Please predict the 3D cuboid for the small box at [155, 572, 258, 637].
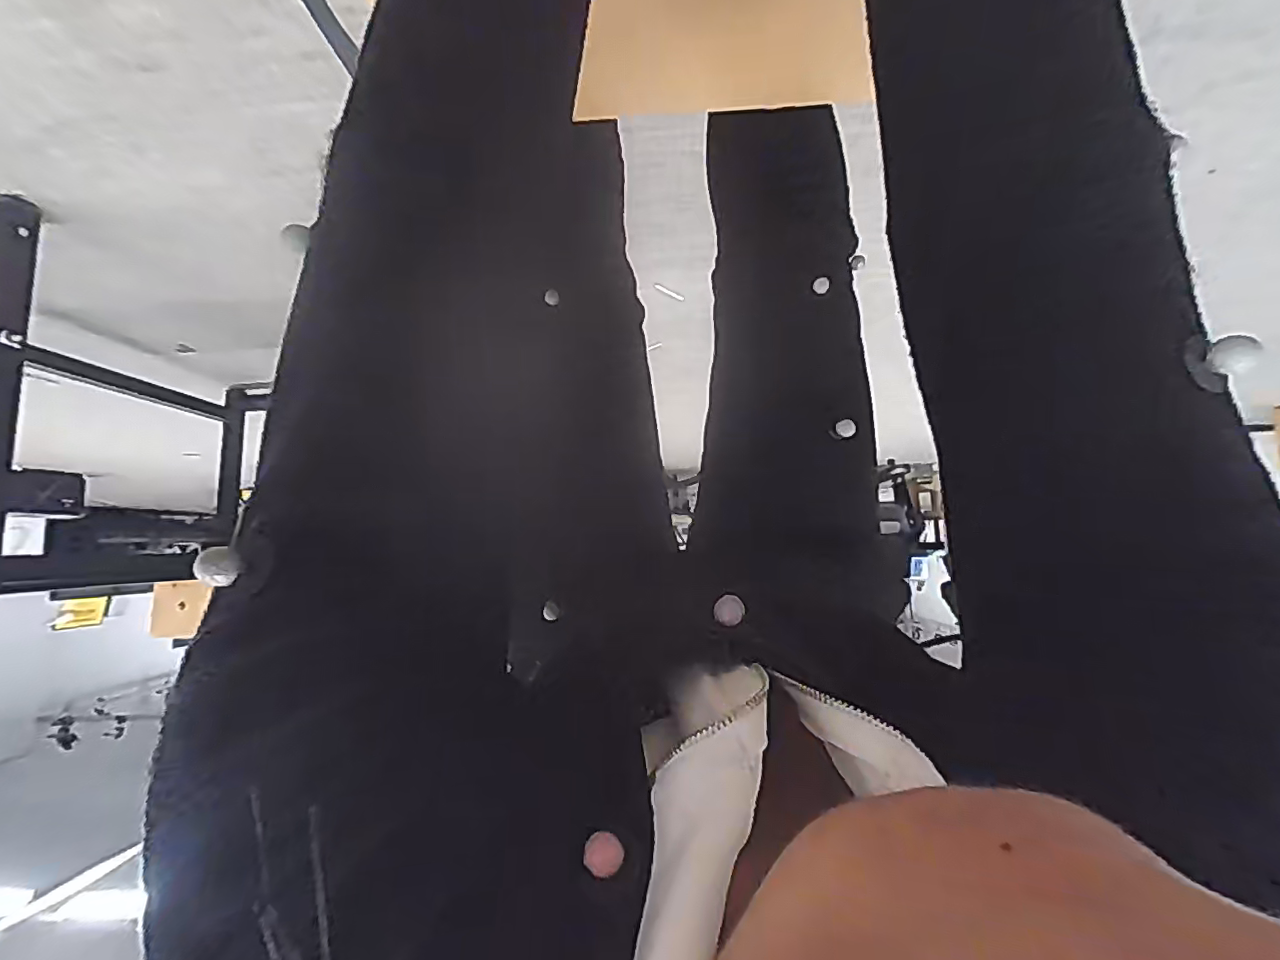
[{"bbox_3d":[-1.268,0.362,1.590,0.168,0.176,0.179,-1,173,2],"label":"small box"}]
